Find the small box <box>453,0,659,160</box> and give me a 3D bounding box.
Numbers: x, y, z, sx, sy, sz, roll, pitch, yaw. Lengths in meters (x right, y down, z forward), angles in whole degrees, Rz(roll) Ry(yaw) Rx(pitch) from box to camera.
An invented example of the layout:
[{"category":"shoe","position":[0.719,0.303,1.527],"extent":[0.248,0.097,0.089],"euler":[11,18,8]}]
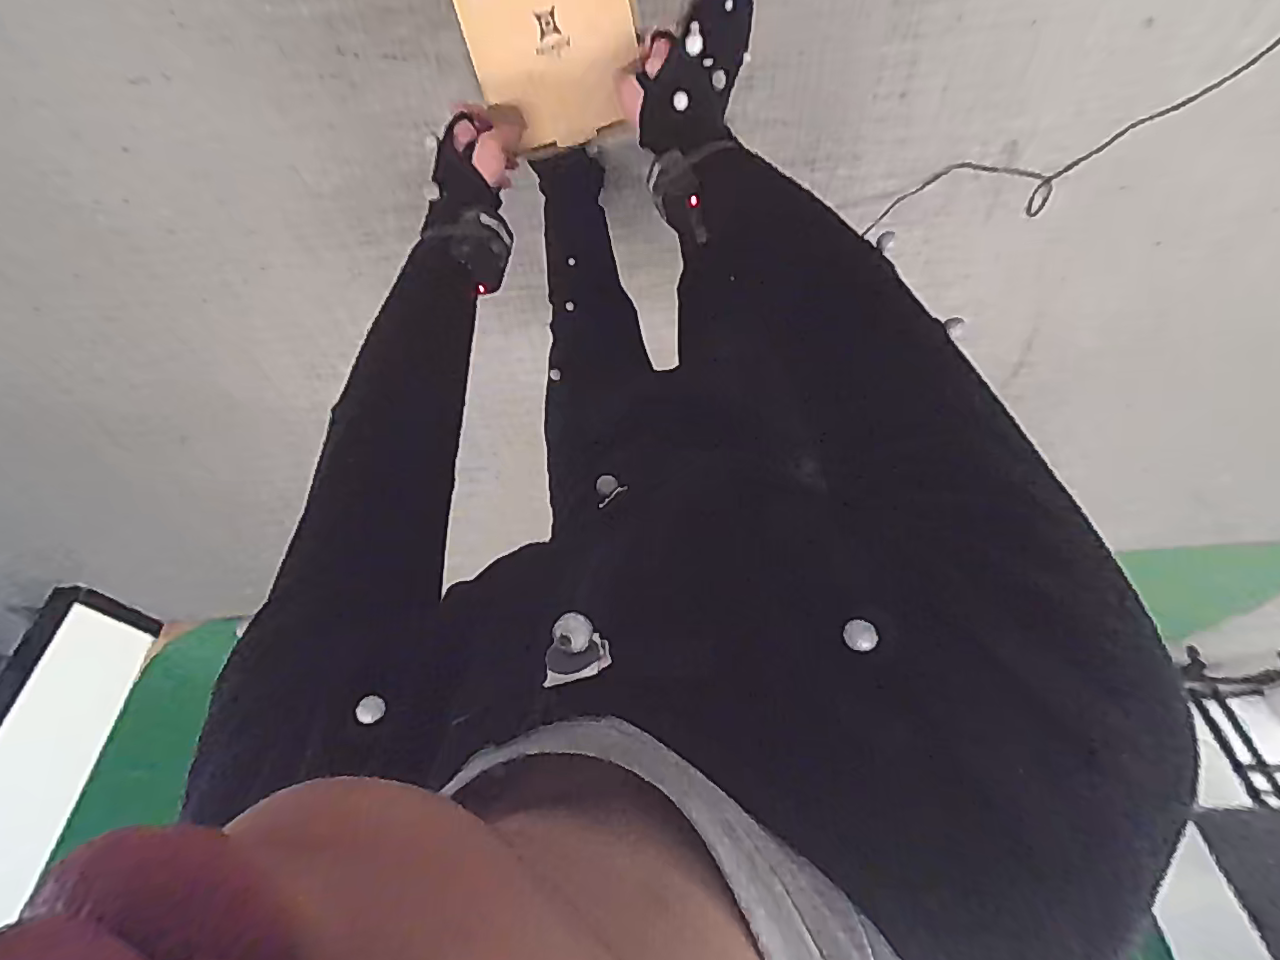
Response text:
[{"category":"small box","position":[-0.079,-0.471,0.588],"extent":[0.168,0.176,0.179],"euler":[-9,121,12]}]
